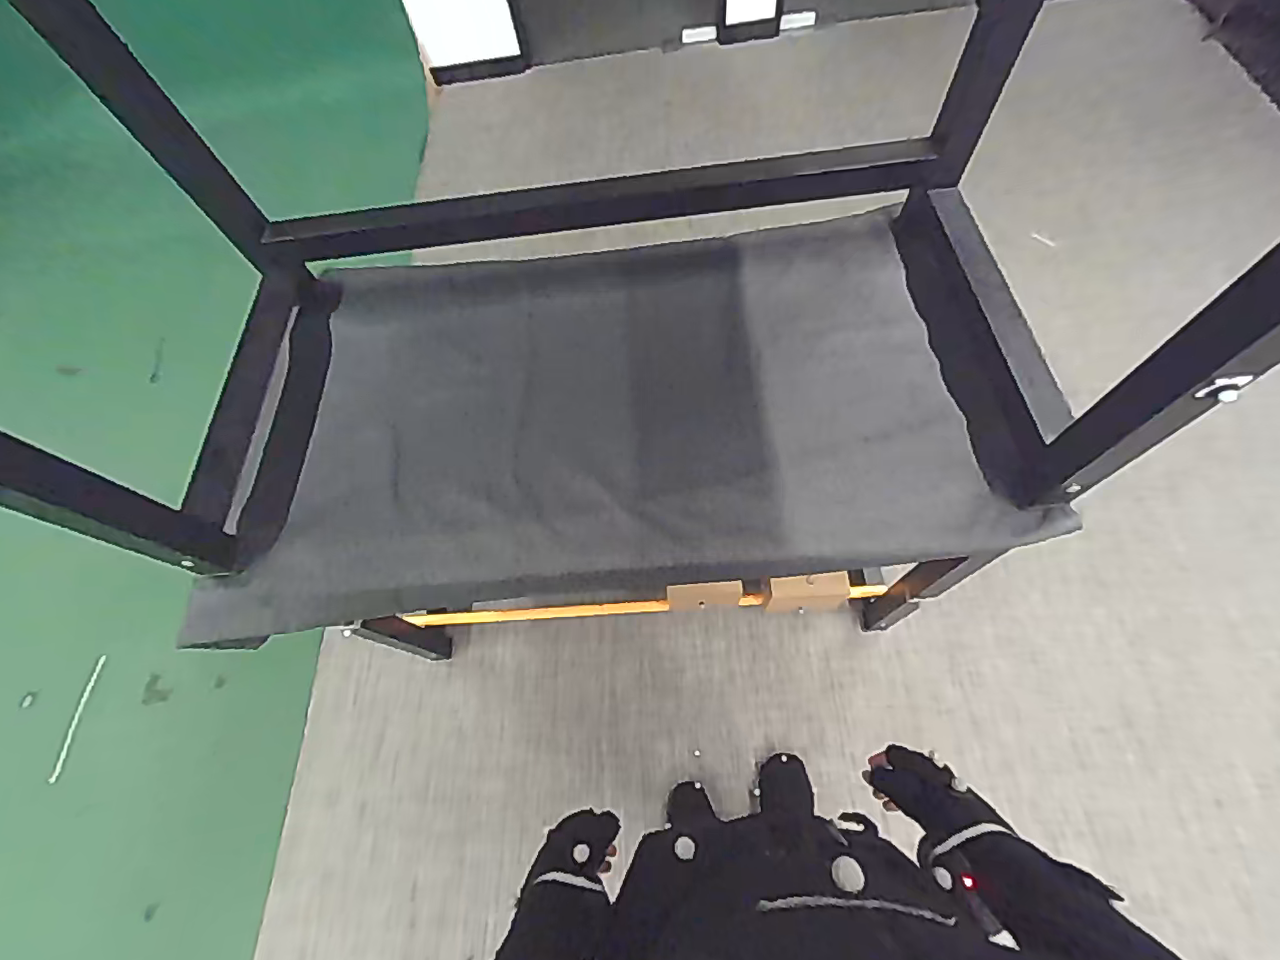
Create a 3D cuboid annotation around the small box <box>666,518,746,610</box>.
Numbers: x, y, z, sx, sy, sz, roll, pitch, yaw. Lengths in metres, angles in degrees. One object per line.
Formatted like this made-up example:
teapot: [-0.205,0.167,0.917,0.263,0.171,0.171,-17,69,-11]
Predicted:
small box: [0.153,0.205,1.271,0.168,0.176,0.179,-5,64,4]
